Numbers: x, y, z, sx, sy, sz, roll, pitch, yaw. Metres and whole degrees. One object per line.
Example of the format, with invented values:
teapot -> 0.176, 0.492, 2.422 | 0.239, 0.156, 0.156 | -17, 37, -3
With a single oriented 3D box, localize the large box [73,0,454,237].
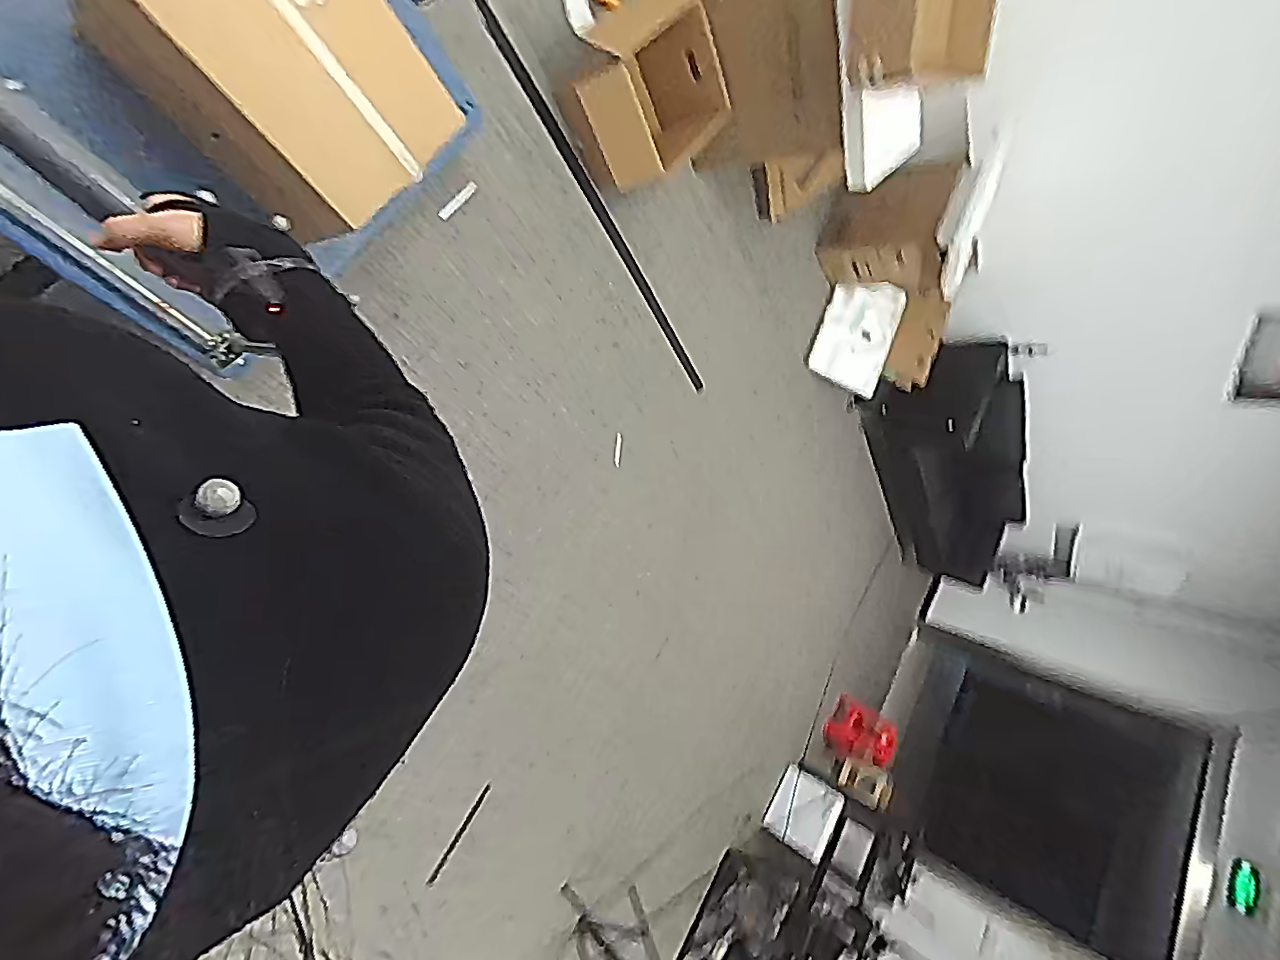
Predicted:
large box -> -0.622, -0.699, 0.933 | 0.320, 0.320, 0.408 | -58, 135, -19
